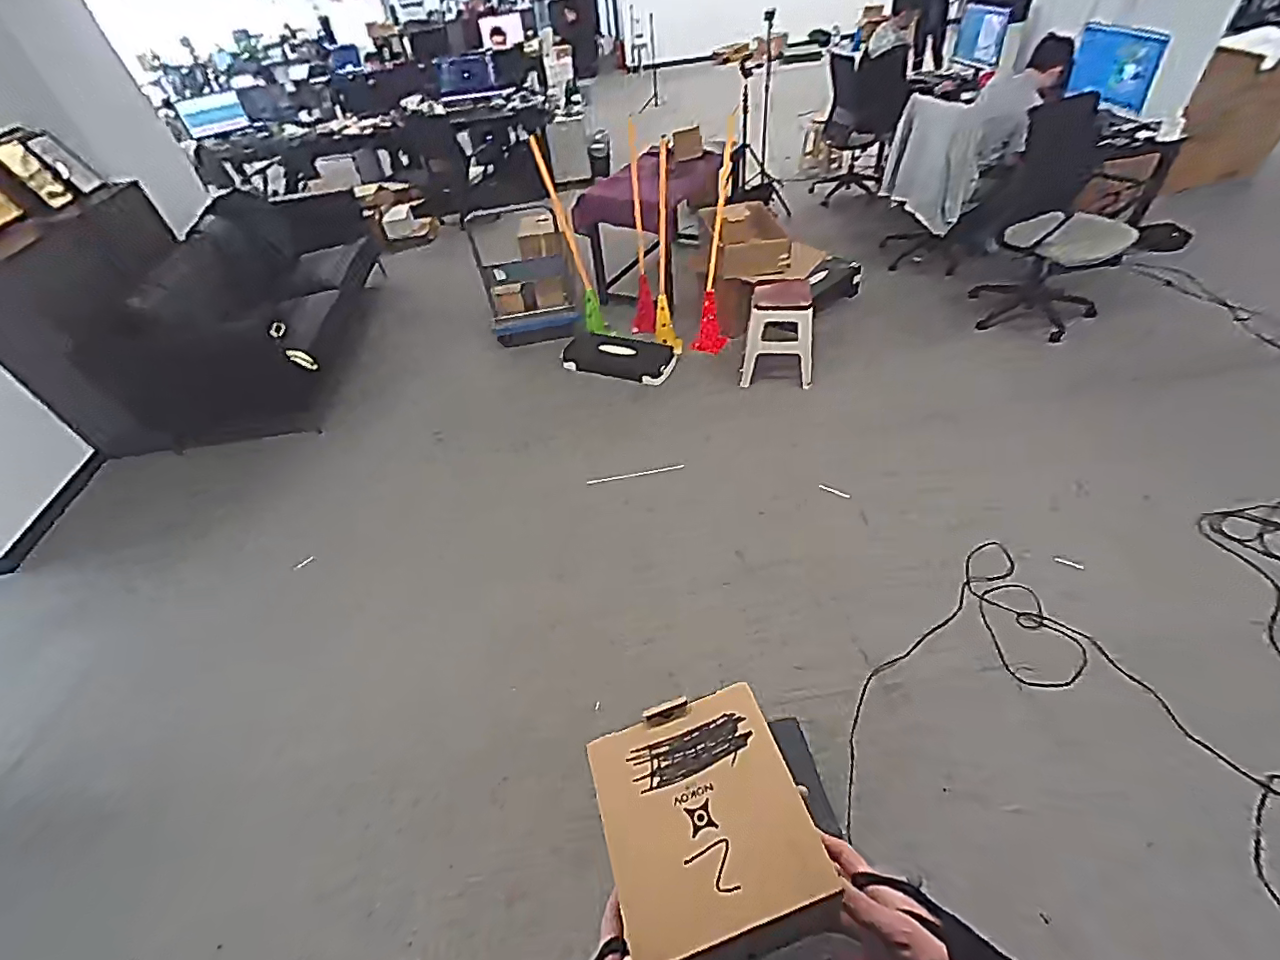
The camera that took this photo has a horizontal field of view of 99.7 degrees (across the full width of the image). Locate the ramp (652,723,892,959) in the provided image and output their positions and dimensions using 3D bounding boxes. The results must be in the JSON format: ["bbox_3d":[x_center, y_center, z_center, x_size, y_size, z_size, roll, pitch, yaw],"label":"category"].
[{"bbox_3d":[0.329,1.097,1.318,0.509,0.206,0.991,-12,44,-2],"label":"ramp"}]
